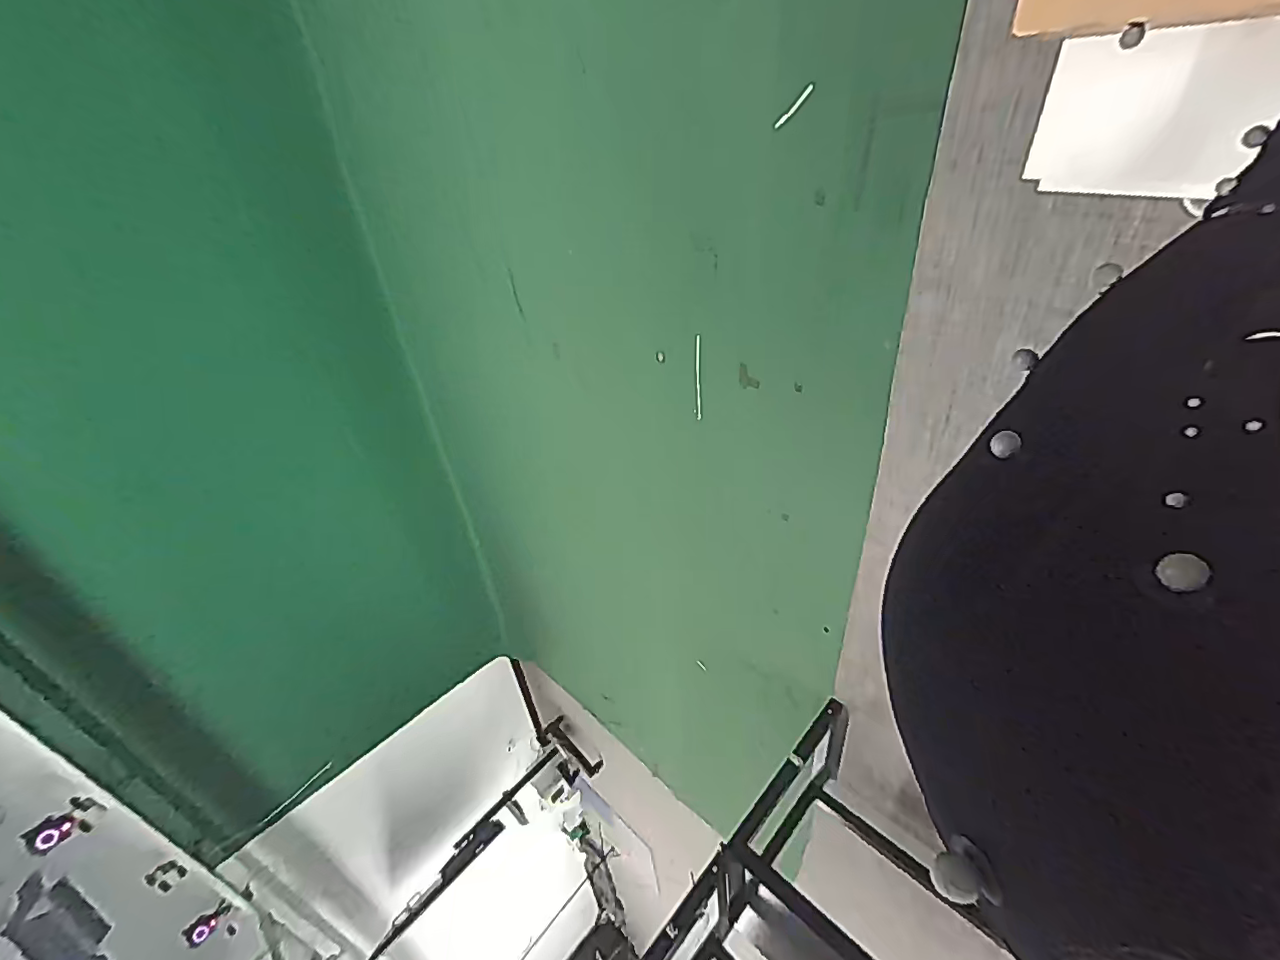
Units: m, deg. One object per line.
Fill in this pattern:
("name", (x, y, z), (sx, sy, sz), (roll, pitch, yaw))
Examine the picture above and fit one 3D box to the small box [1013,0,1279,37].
("small box", (0.407, -0.427, 0.379), (0.179, 0.176, 0.168), (25, 135, 37))
